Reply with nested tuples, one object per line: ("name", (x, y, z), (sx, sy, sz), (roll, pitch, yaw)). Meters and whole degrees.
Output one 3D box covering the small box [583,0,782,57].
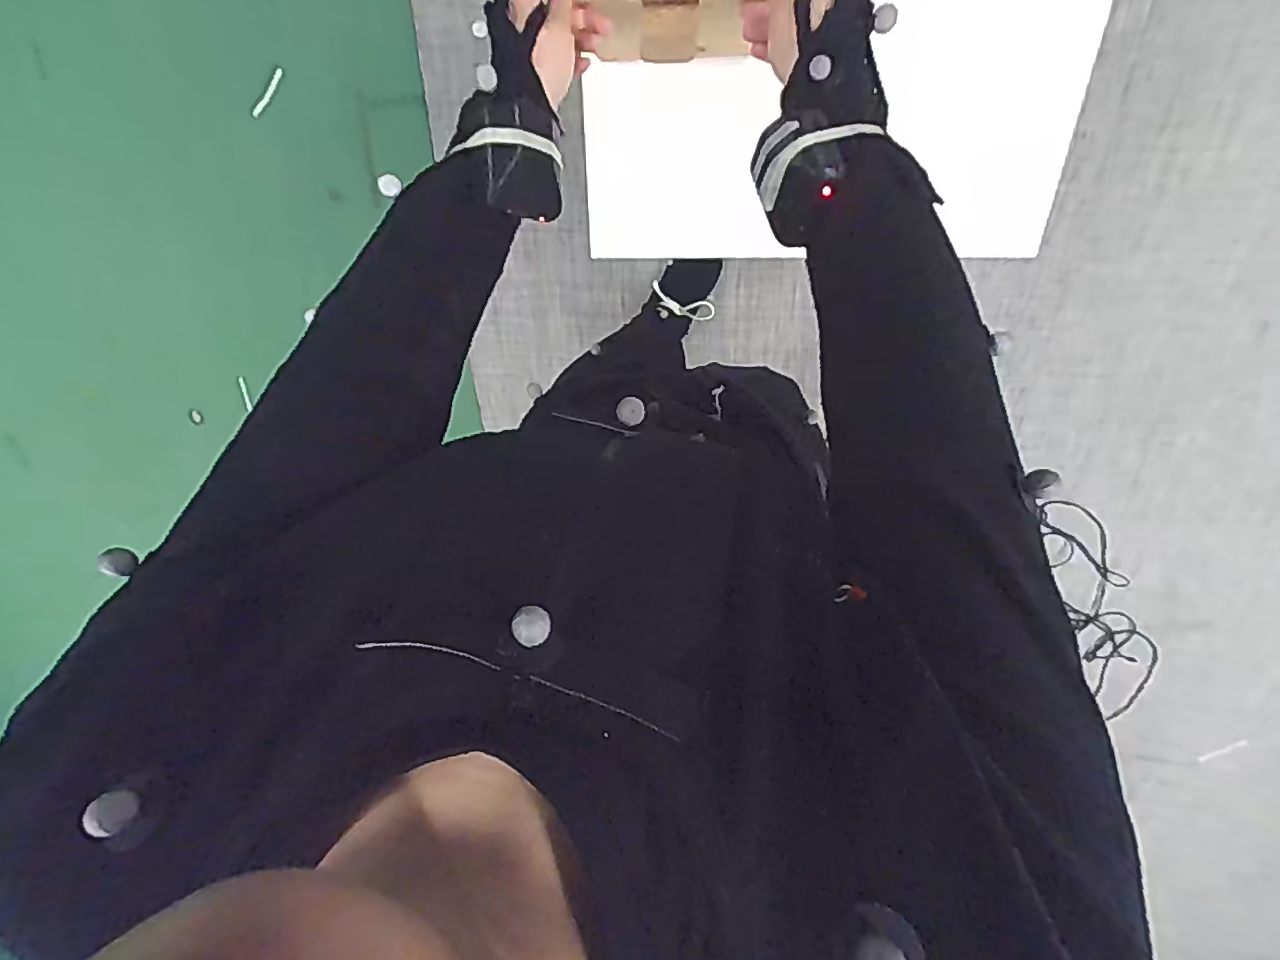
("small box", (0.033, -0.471, 0.432), (0.168, 0.176, 0.179), (2, 116, 6))
